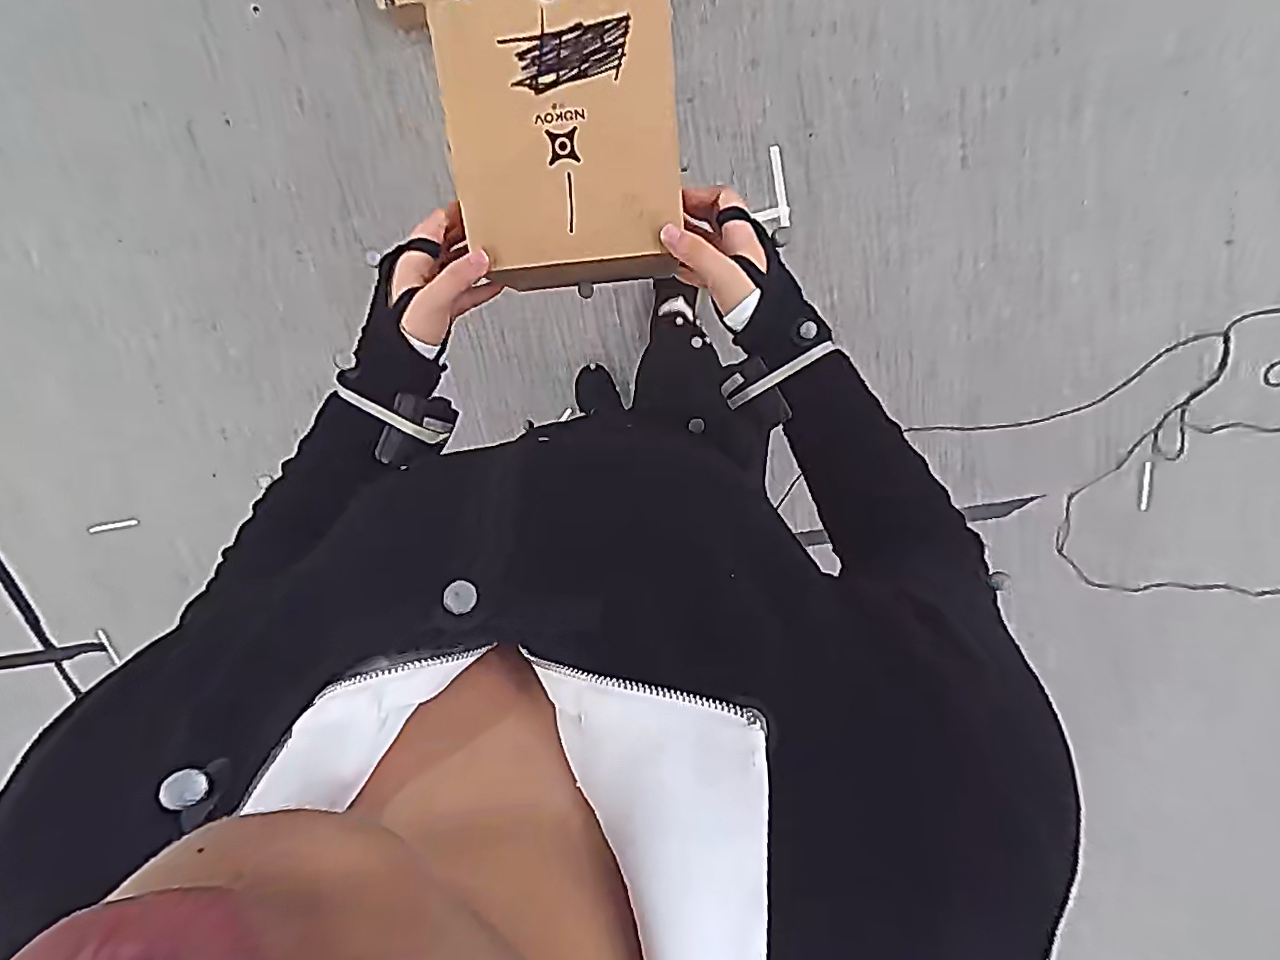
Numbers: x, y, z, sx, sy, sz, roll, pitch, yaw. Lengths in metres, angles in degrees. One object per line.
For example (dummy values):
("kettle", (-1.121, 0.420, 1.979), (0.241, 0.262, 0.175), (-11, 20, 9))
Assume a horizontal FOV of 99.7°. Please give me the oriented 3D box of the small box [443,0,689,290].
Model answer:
("small box", (-0.052, -0.271, 0.470), (0.168, 0.176, 0.179), (-5, 105, 1))
